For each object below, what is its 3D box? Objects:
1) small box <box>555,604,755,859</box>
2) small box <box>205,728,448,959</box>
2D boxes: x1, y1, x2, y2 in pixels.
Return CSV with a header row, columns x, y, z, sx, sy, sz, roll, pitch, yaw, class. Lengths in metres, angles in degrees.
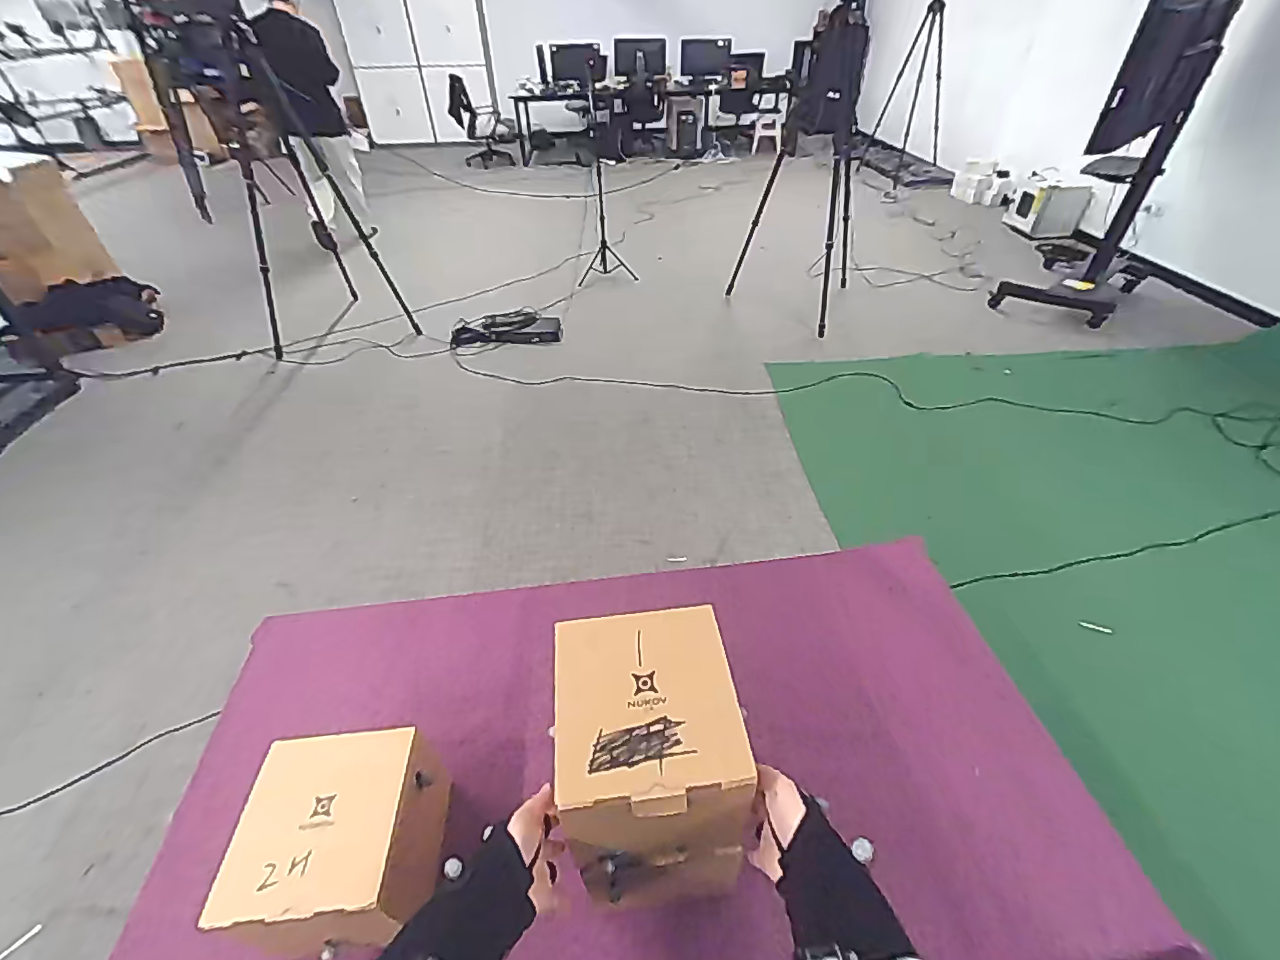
x,y,z,sx,sy,sz,roll,pitch,yaw,class
0.009,0.254,0.544,0.168,0.176,0.179,-5,38,-4,small box
-0.332,0.415,0.622,0.168,0.176,0.179,-5,41,-3,small box
